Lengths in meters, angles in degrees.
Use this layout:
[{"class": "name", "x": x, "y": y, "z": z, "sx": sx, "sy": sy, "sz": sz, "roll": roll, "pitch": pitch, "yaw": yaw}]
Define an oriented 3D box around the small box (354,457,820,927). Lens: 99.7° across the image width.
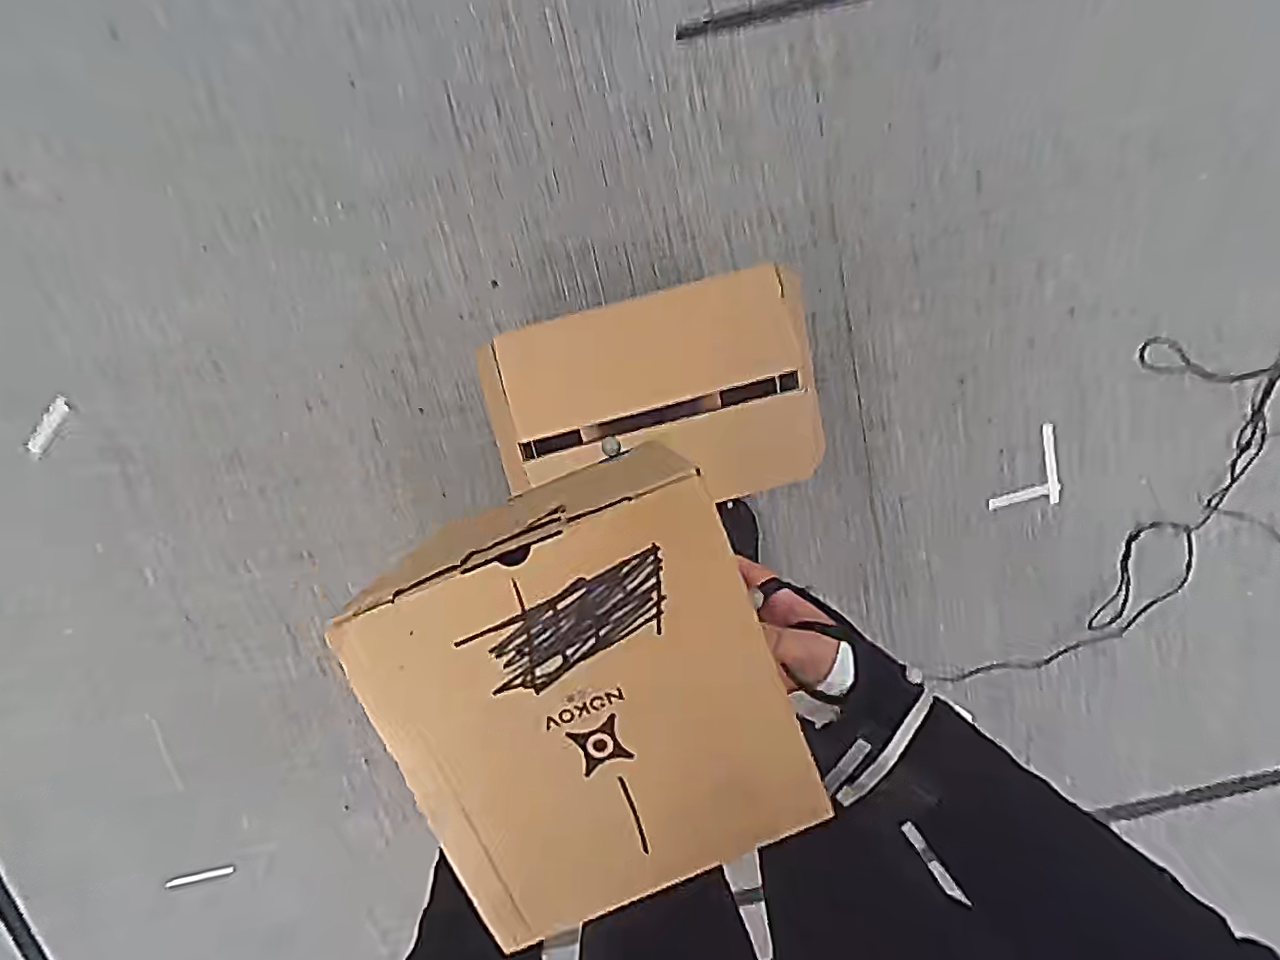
[{"class": "small box", "x": -0.025, "y": 0.093, "z": 0.324, "sx": 0.168, "sy": 0.176, "sz": 0.179, "roll": -22, "pitch": 100, "yaw": 0}]
